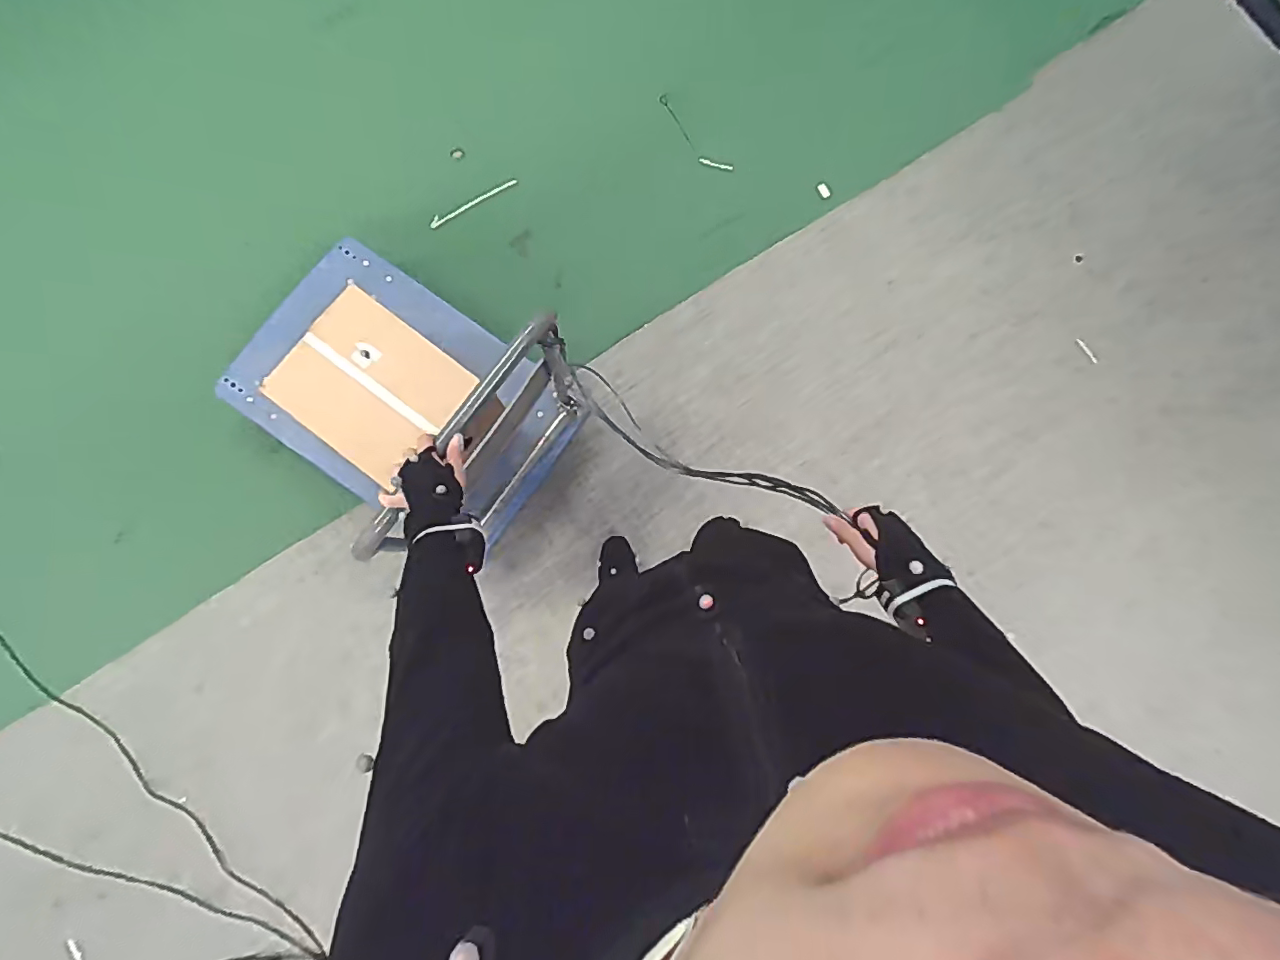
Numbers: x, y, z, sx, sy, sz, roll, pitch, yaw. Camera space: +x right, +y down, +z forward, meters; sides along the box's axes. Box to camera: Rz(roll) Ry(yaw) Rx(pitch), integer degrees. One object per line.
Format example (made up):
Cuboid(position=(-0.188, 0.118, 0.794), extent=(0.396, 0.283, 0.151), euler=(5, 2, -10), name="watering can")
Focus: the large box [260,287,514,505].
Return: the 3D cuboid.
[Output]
Cuboid(position=(-0.585, -0.182, 1.332), extent=(0.408, 0.320, 0.320), euler=(37, 82, 3), name="large box")
